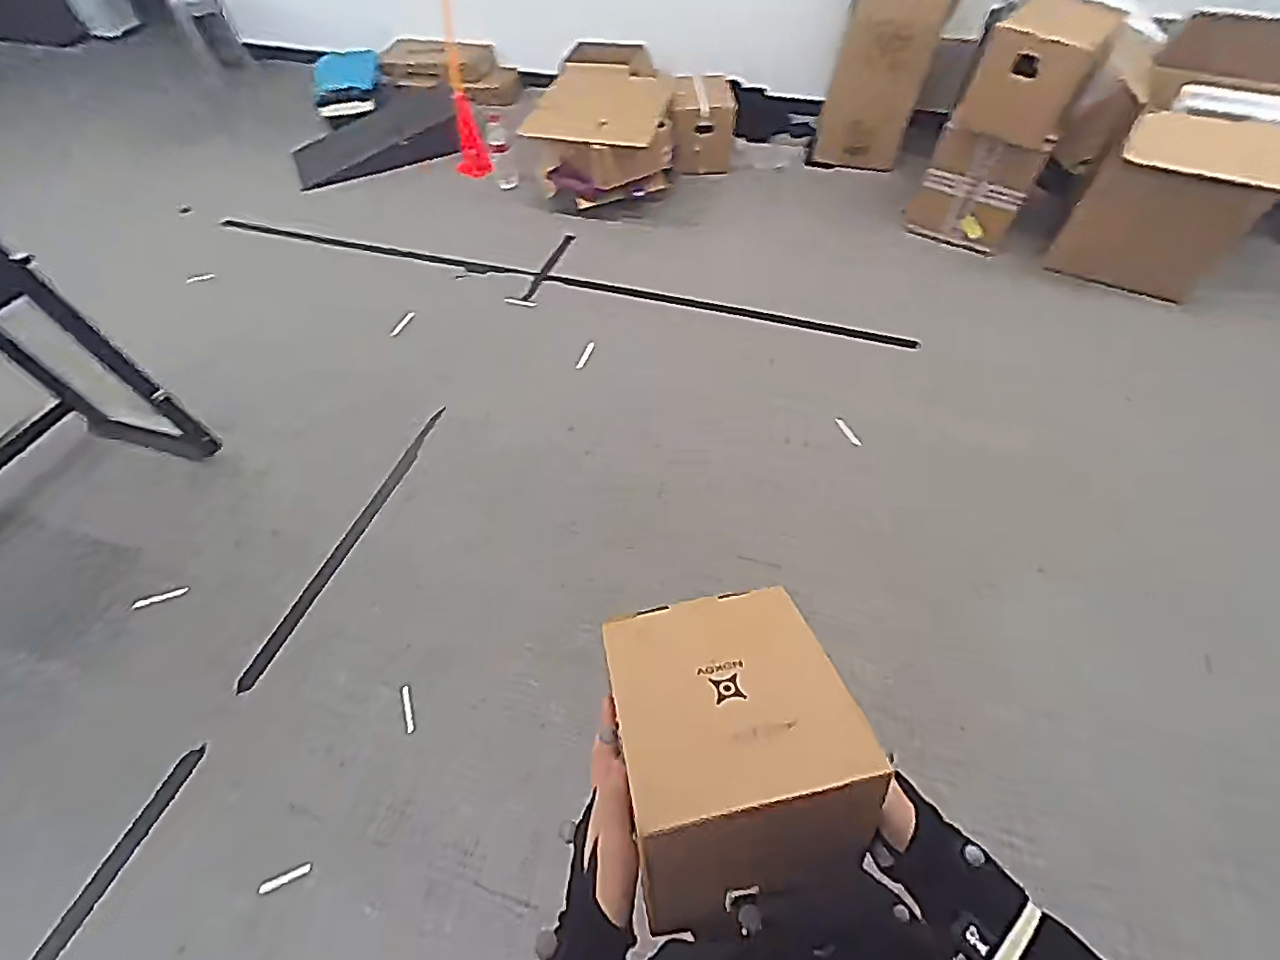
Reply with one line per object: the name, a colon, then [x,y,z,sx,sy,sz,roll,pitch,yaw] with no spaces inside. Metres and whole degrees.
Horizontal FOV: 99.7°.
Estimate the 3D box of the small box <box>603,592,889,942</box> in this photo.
small box: [0.067,0.225,0.444,0.168,0.176,0.179,-10,33,-8]
